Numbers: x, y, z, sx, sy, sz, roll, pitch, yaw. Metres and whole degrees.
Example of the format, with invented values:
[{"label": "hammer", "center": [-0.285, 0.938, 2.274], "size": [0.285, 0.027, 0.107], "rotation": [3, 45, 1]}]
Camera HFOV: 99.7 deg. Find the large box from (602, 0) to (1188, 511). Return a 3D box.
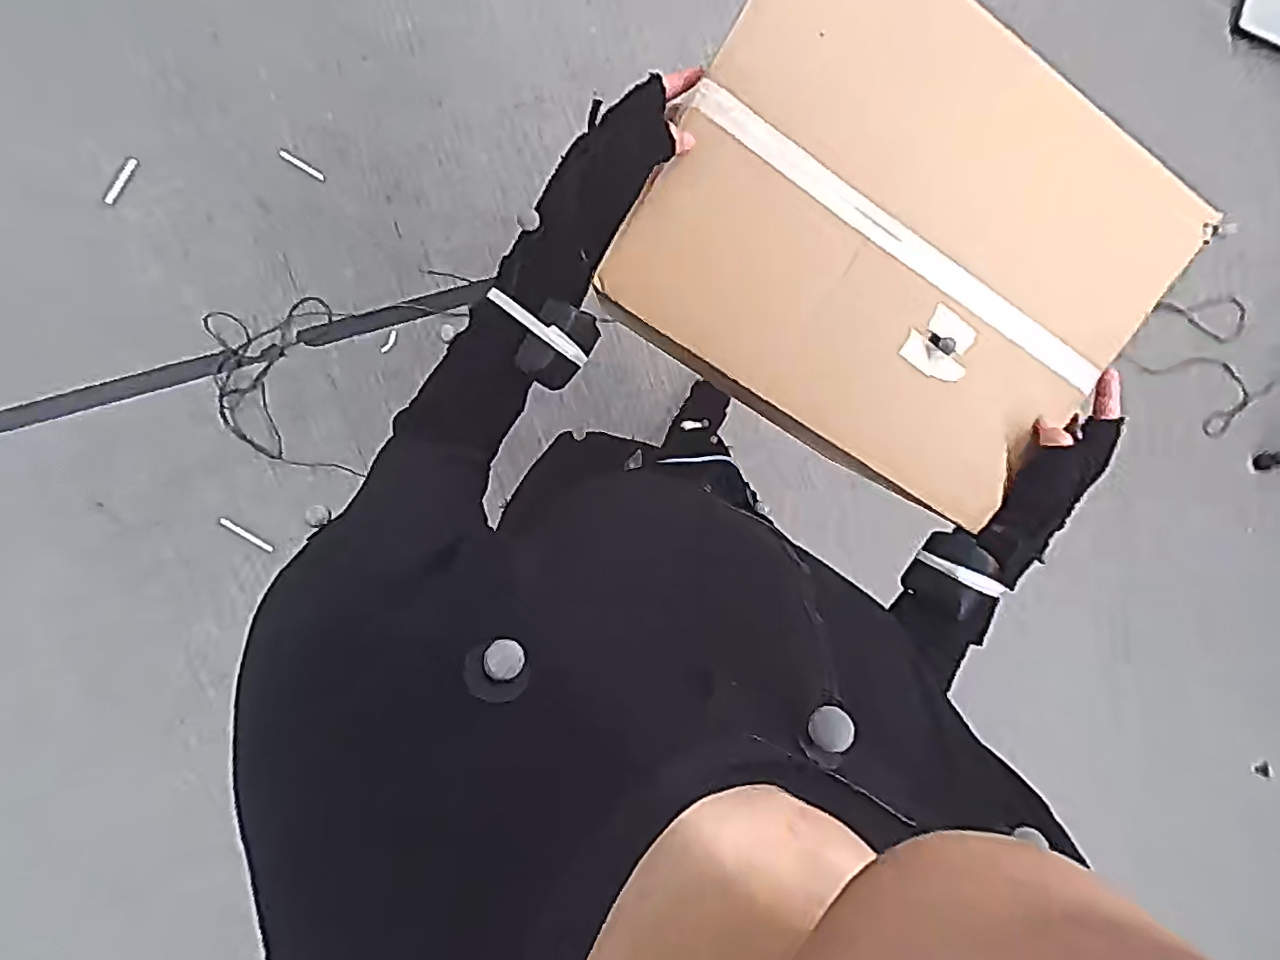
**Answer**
[{"label": "large box", "center": [0.203, -0.228, 0.586], "size": [0.408, 0.320, 0.320], "rotation": [31, 101, -11]}]
